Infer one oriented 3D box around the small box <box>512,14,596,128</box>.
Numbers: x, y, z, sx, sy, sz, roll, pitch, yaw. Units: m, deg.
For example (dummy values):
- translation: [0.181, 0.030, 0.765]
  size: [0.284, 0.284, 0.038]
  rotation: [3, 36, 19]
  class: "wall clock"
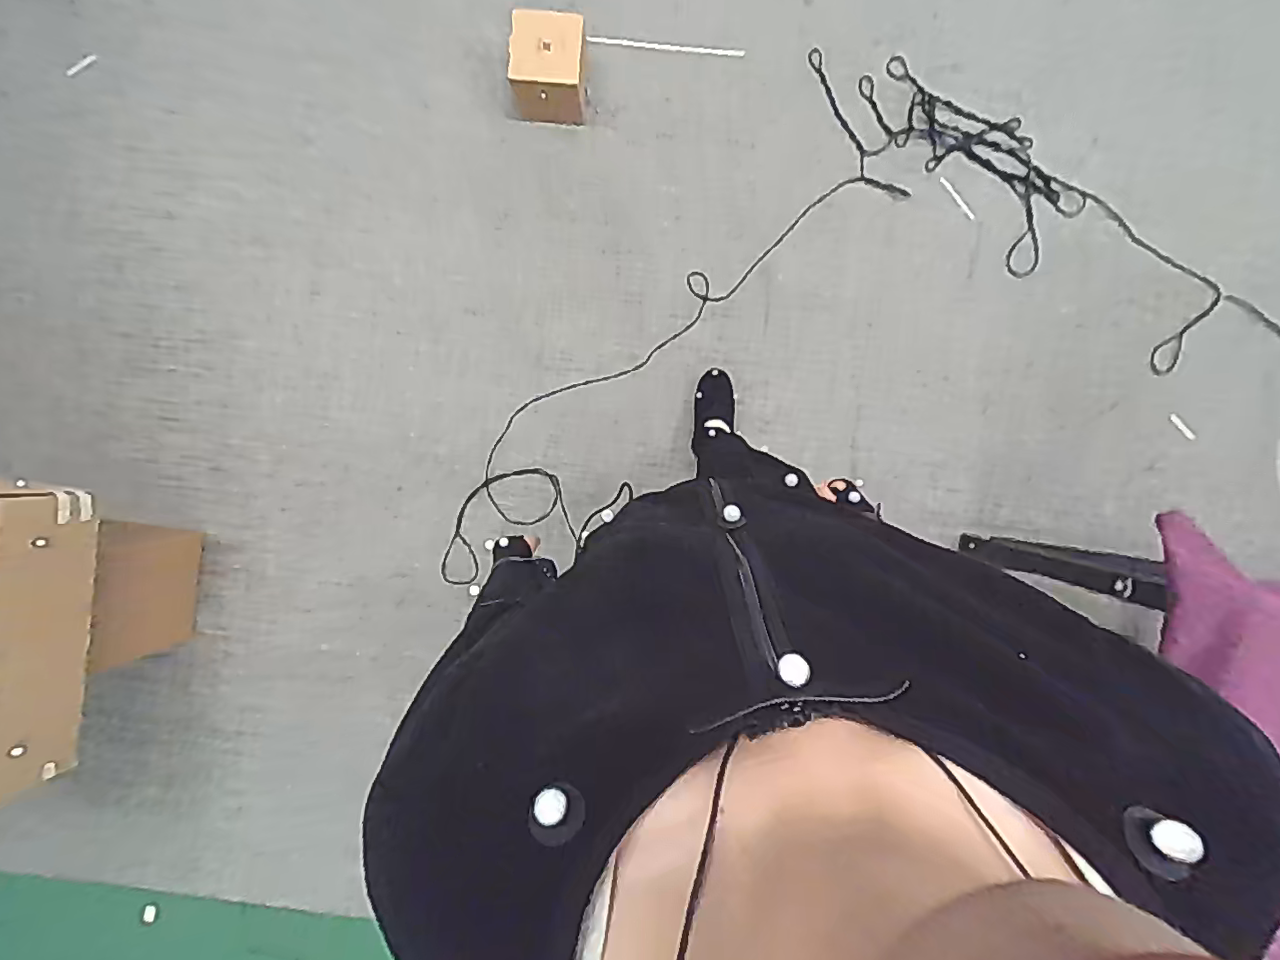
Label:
- translation: [-0.214, -1.039, 1.387]
  size: [0.179, 0.176, 0.168]
  rotation: [6, 92, 1]
  class: "small box"
